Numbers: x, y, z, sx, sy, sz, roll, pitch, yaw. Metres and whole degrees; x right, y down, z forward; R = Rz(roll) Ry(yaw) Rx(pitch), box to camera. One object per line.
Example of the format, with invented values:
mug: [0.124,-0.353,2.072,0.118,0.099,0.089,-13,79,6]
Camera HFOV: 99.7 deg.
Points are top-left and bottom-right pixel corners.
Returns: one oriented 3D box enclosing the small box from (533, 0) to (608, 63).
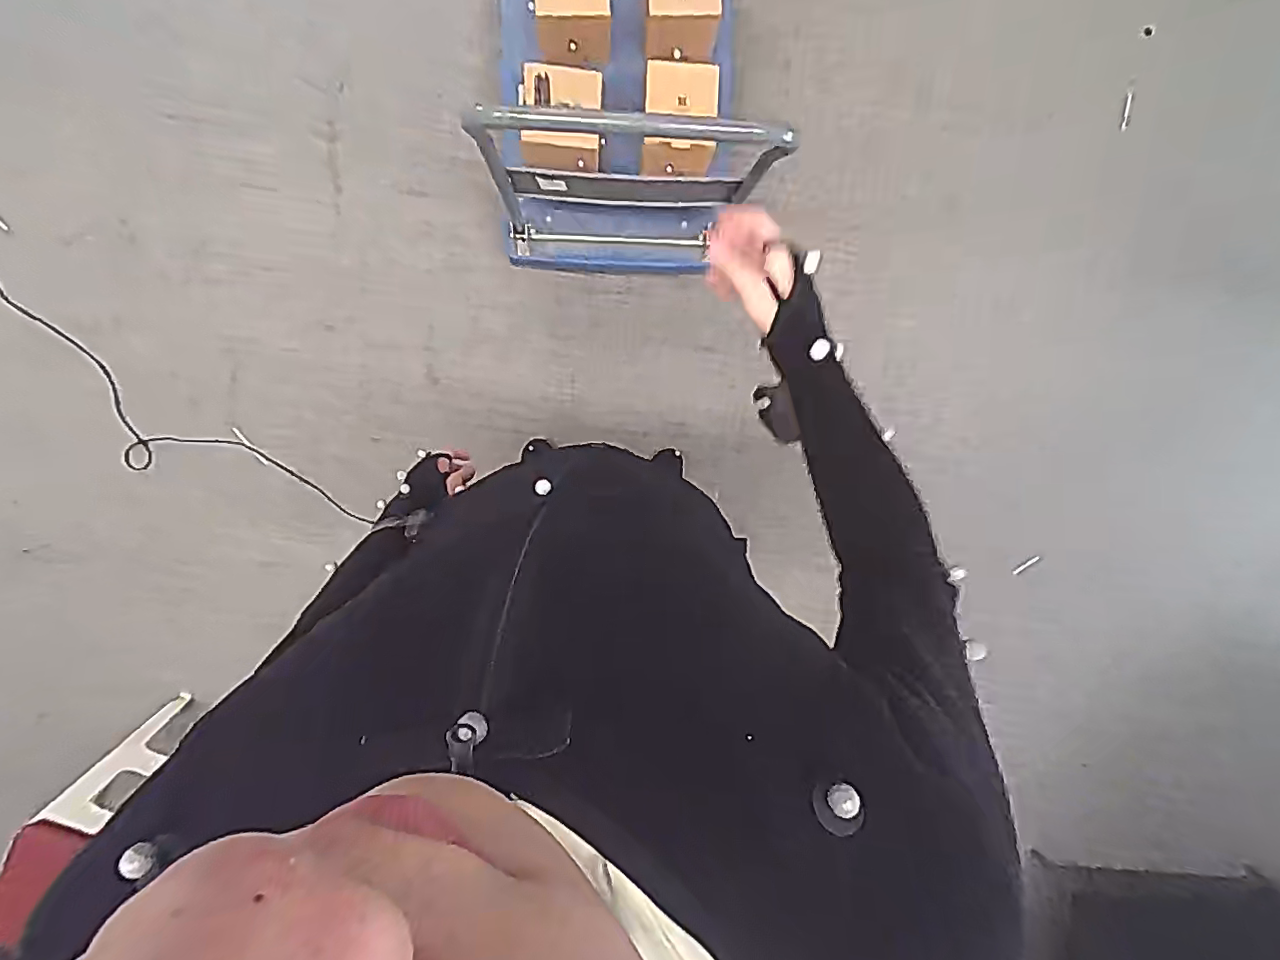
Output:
small box: [-0.159,-1.110,1.255,0.168,0.176,0.179,-3,96,-5]

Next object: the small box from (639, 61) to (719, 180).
small box: [0.087,-0.856,1.302,0.168,0.176,0.179,1,96,-5]

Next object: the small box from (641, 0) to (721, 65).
small box: [0.091,-1.125,1.272,0.168,0.176,0.179,-3,97,-3]
